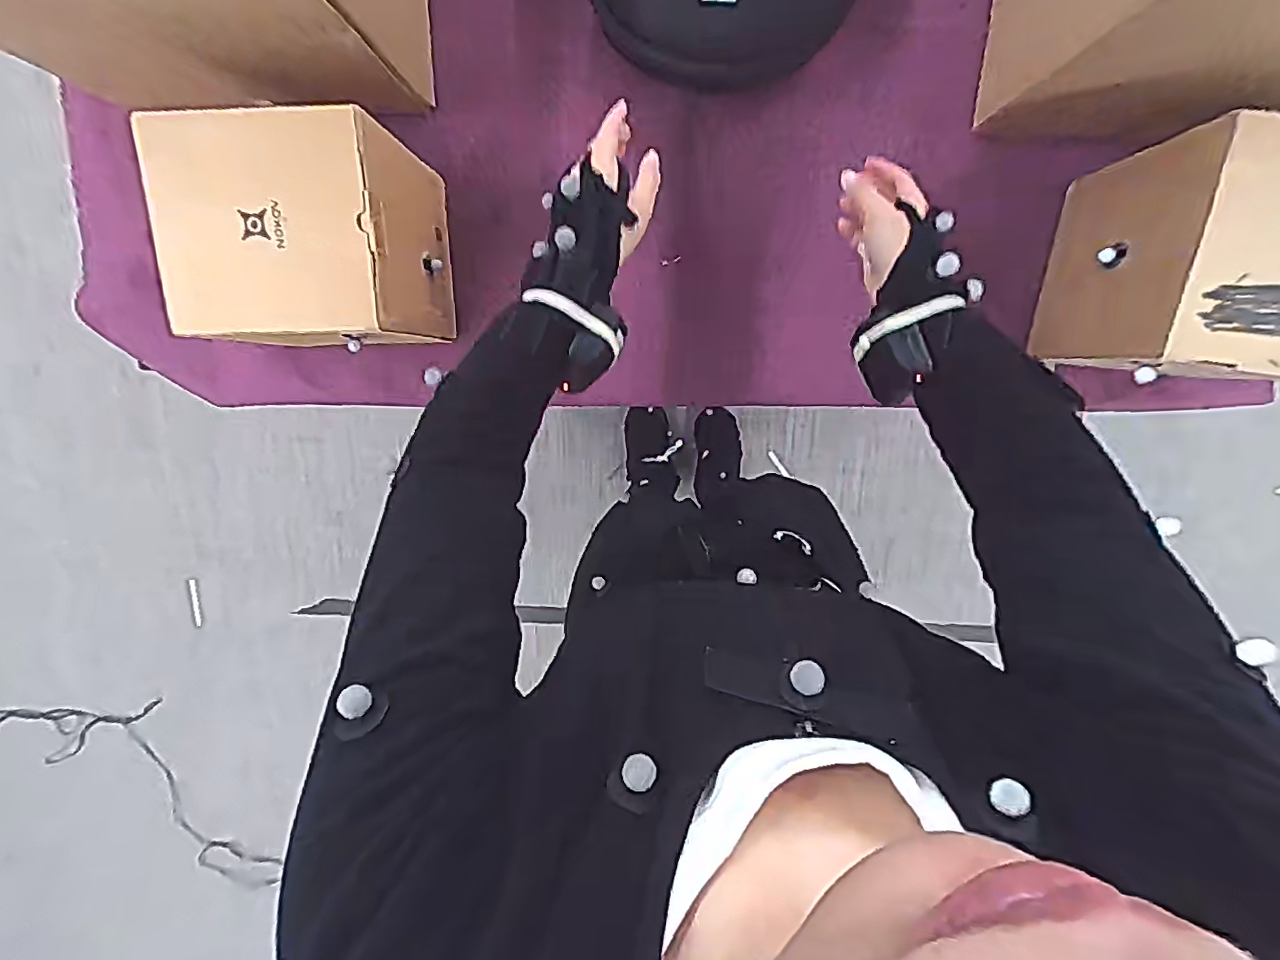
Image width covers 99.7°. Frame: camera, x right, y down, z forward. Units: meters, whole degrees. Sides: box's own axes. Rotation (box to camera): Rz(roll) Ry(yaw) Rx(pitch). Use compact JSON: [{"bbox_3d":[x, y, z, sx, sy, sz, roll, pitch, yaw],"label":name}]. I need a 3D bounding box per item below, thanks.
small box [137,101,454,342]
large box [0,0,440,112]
[{"bbox_3d":[-0.294,-0.219,0.503,0.179,0.176,0.168,-2,102,1],"label":"small box"},{"bbox_3d":[-0.355,-0.531,0.361,0.320,0.320,0.408,-1,105,1],"label":"large box"}]
